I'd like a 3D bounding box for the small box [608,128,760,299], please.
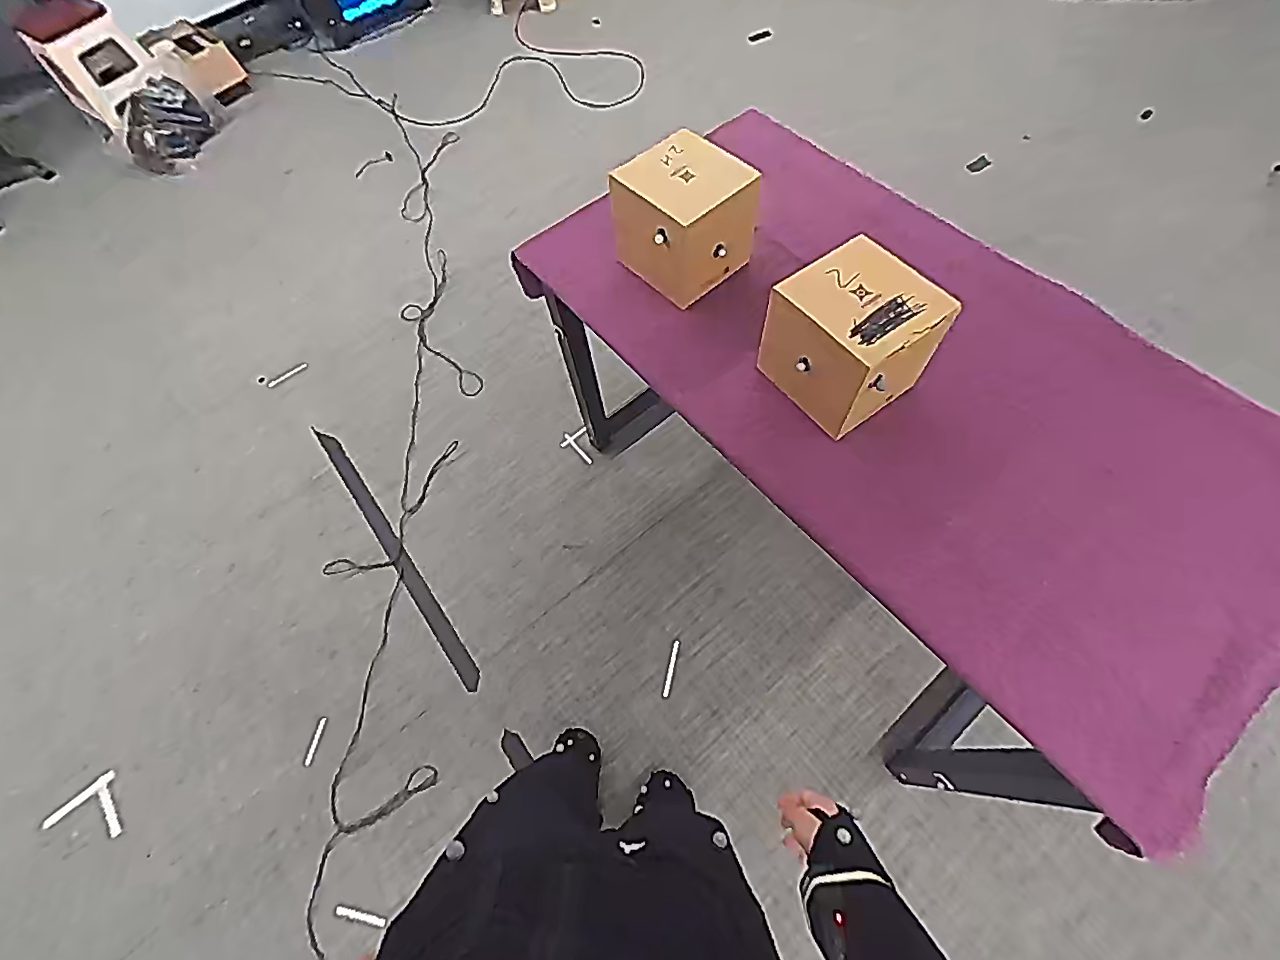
[{"bbox_3d":[0.071,-0.431,0.897,0.168,0.176,0.179,-39,67,-16],"label":"small box"}]
